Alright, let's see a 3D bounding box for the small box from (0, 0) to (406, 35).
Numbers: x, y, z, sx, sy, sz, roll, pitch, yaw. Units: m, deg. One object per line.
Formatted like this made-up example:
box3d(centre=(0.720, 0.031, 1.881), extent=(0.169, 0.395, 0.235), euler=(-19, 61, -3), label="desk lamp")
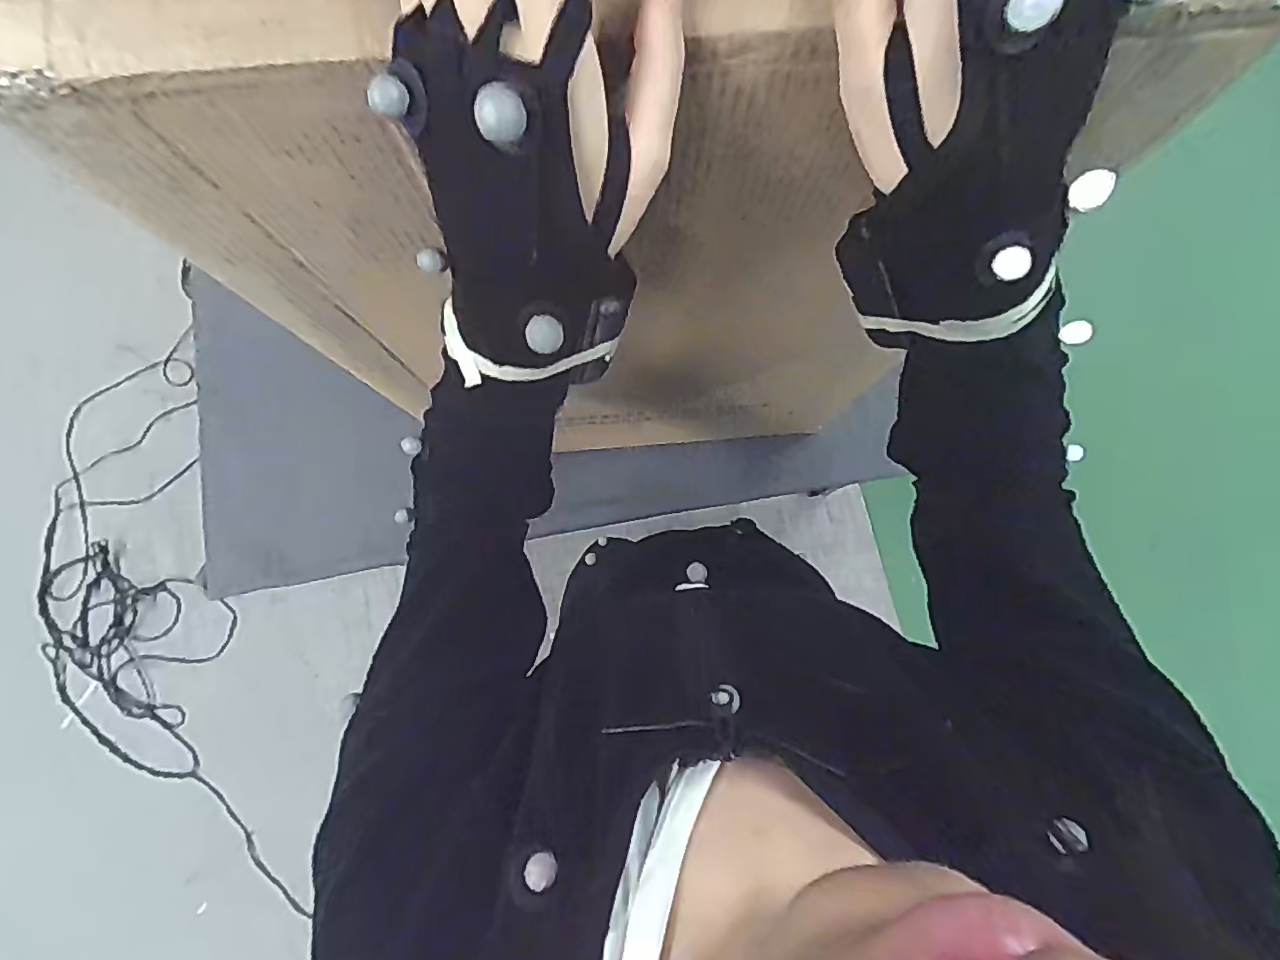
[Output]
box3d(centre=(-0.165, -0.262, 0.130), extent=(0.168, 0.176, 0.179), euler=(-2, 84, -1), label="small box")
